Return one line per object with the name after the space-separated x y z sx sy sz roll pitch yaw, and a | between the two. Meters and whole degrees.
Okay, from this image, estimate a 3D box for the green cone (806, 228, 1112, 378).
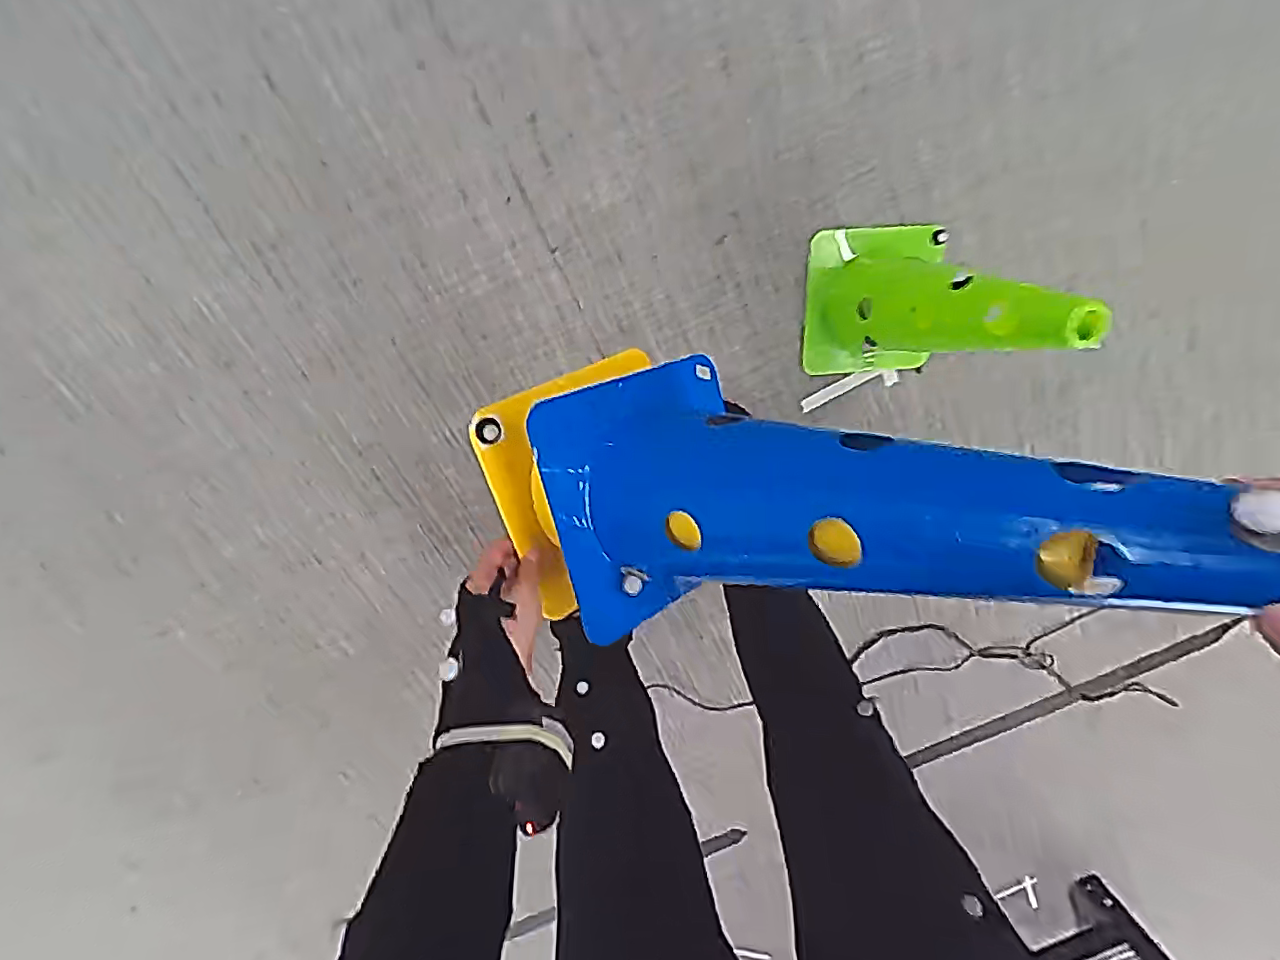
0.361 -0.190 0.626 0.200 0.368 0.202 -5 112 -5 | green cone
